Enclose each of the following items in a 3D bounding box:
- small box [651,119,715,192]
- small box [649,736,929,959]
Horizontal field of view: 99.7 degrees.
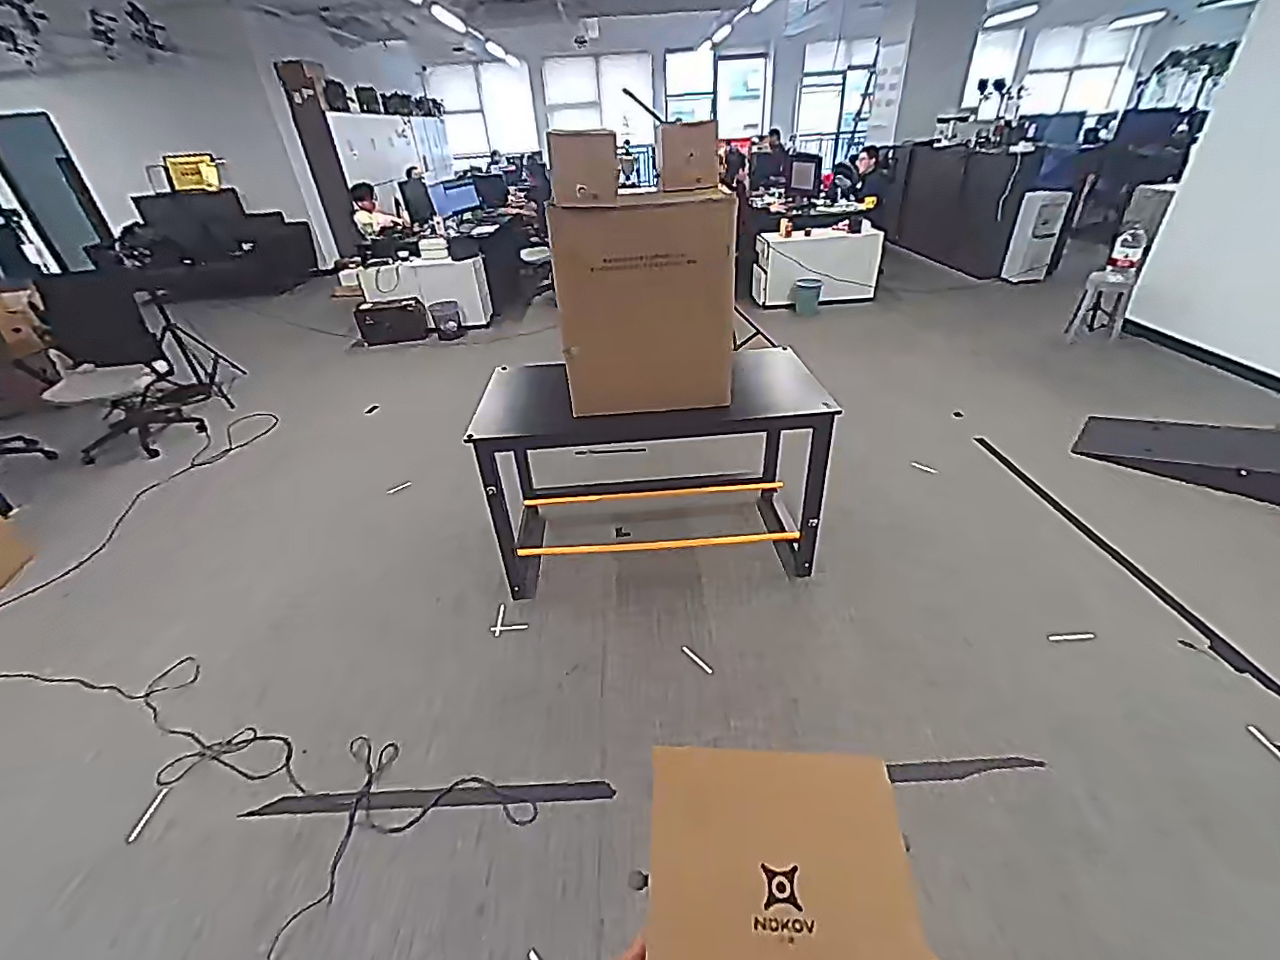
[{"bbox_3d":[0.127,-0.968,1.617,0.168,0.176,0.179,-7,33,-2],"label":"small box"},{"bbox_3d":[0.093,0.311,0.398,0.168,0.176,0.179,0,48,5],"label":"small box"}]
